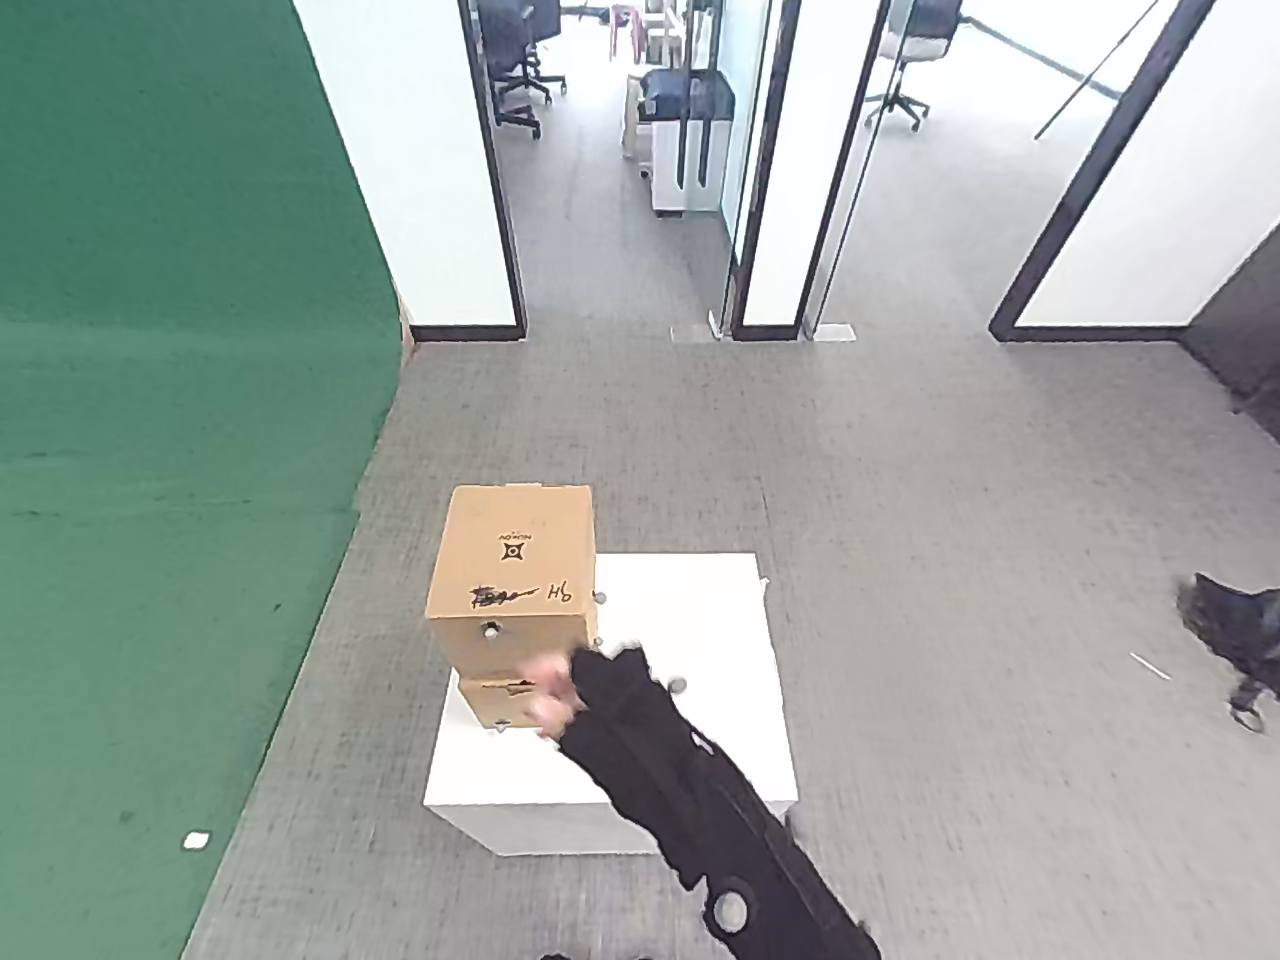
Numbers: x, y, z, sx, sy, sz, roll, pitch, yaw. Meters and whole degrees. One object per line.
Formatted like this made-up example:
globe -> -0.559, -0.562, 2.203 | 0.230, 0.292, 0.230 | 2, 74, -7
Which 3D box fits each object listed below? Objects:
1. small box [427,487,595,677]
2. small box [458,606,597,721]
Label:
small box -> -0.143, 0.127, 0.673 | 0.168, 0.176, 0.179 | -1, 49, -2
small box -> -0.150, 0.241, 0.789 | 0.168, 0.176, 0.179 | 0, 49, -2
